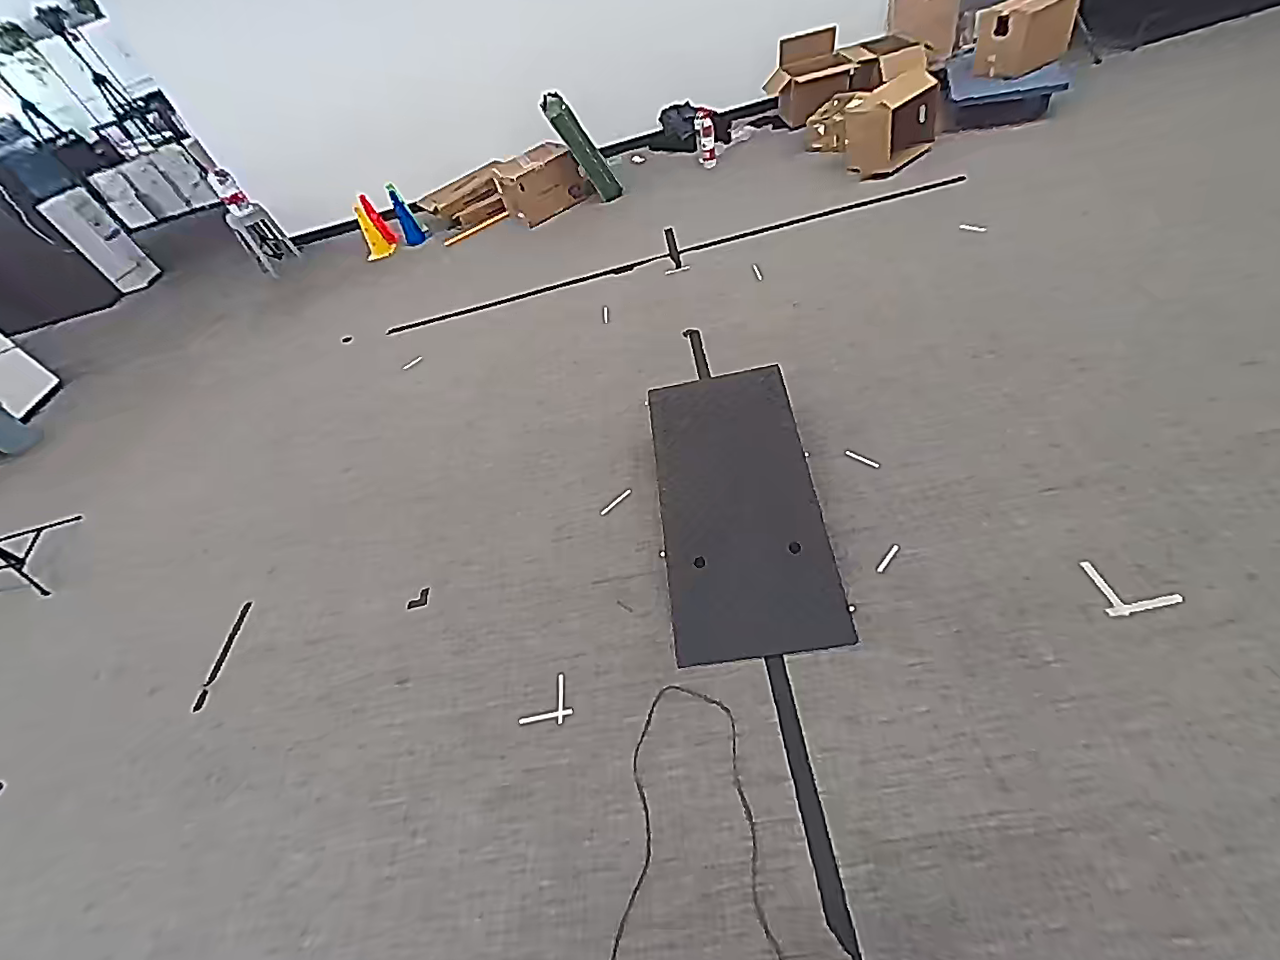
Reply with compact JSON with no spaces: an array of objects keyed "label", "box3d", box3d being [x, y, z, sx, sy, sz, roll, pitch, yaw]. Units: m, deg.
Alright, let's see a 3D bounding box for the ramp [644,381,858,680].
[{"label":"ramp","box3d":[0.304,0.098,1.748,0.509,0.206,0.991,-13,46,6]}]
